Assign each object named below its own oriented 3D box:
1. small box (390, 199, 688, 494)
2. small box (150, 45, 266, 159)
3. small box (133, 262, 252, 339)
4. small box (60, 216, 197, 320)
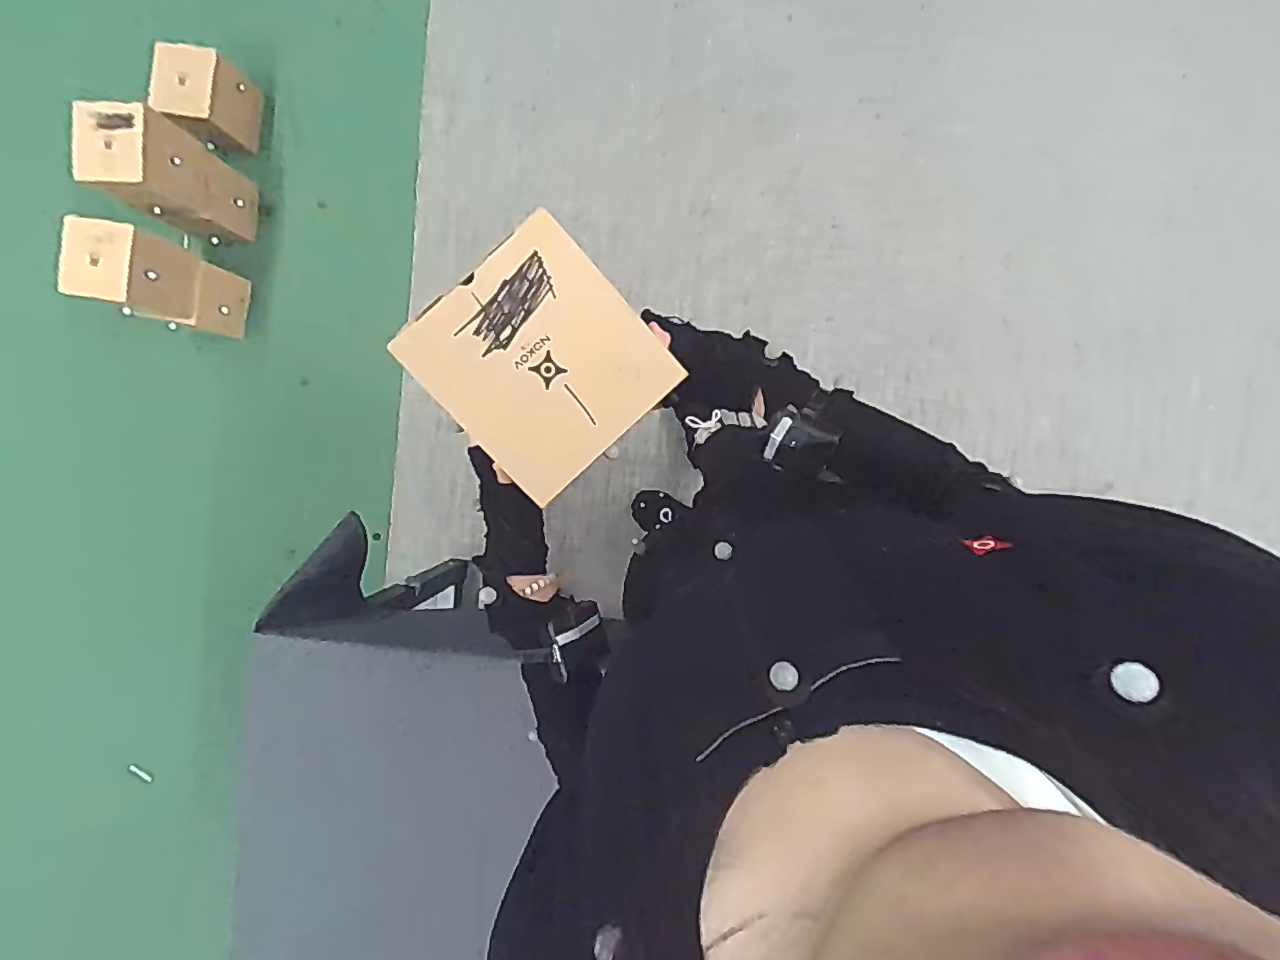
[{"bbox_3d":[-0.084,-0.106,0.501,0.168,0.176,0.179,-42,97,-1],"label":"small box"},{"bbox_3d":[-1.142,-1.002,1.443,0.168,0.176,0.179,10,91,3],"label":"small box"},{"bbox_3d":[-1.192,-0.488,1.454,0.179,0.176,0.168,11,92,3],"label":"small box"},{"bbox_3d":[-1.209,-0.495,1.289,0.168,0.176,0.179,10,92,2],"label":"small box"}]
